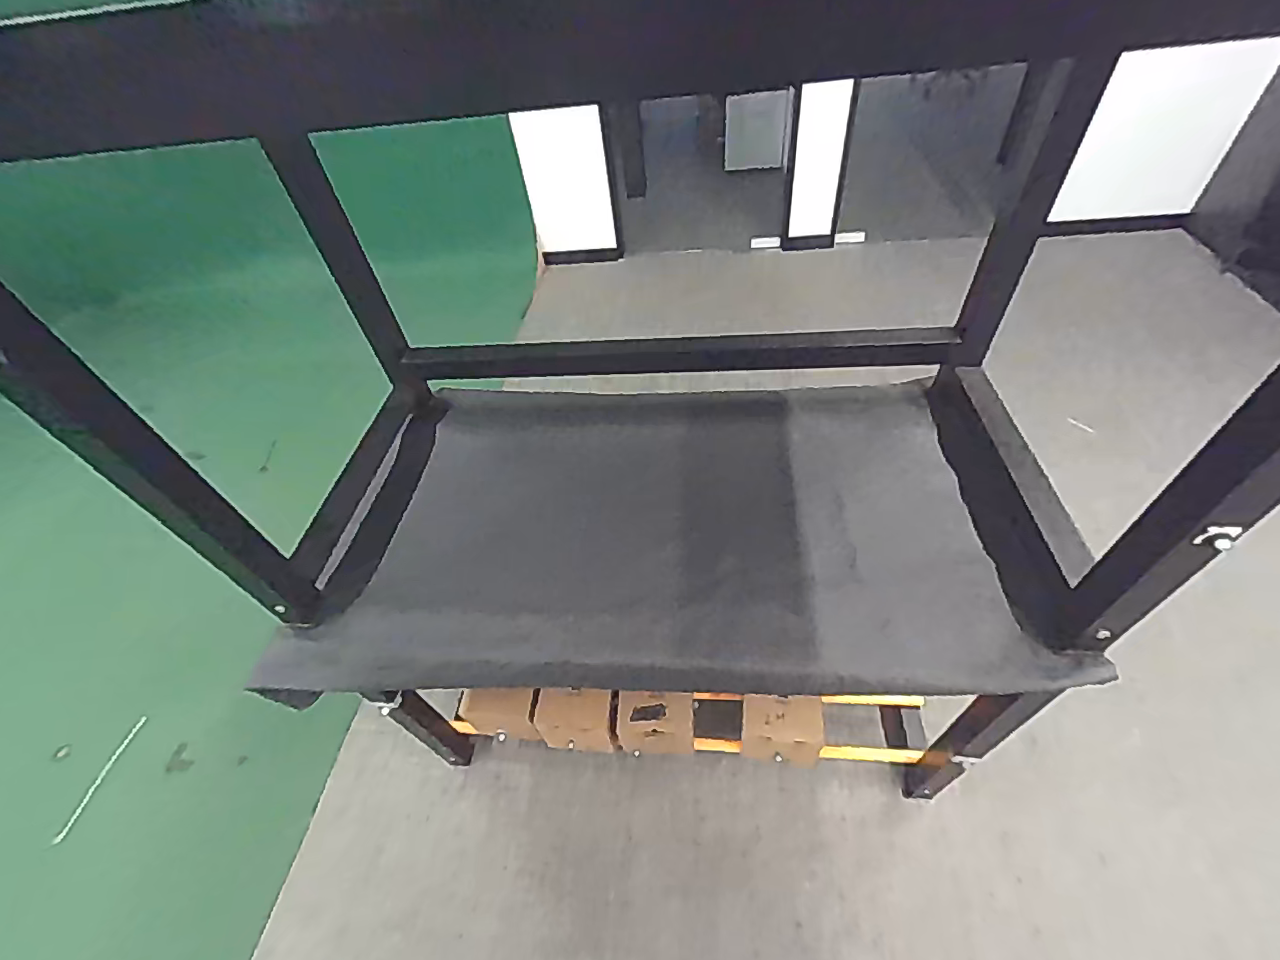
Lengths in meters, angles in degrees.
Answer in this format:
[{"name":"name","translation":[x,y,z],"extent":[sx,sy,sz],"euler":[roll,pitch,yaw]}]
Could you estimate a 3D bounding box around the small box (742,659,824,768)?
[{"name":"small box","translation":[0.323,0.535,1.237],"extent":[0.168,0.176,0.179],"euler":[3,50,12]}]
